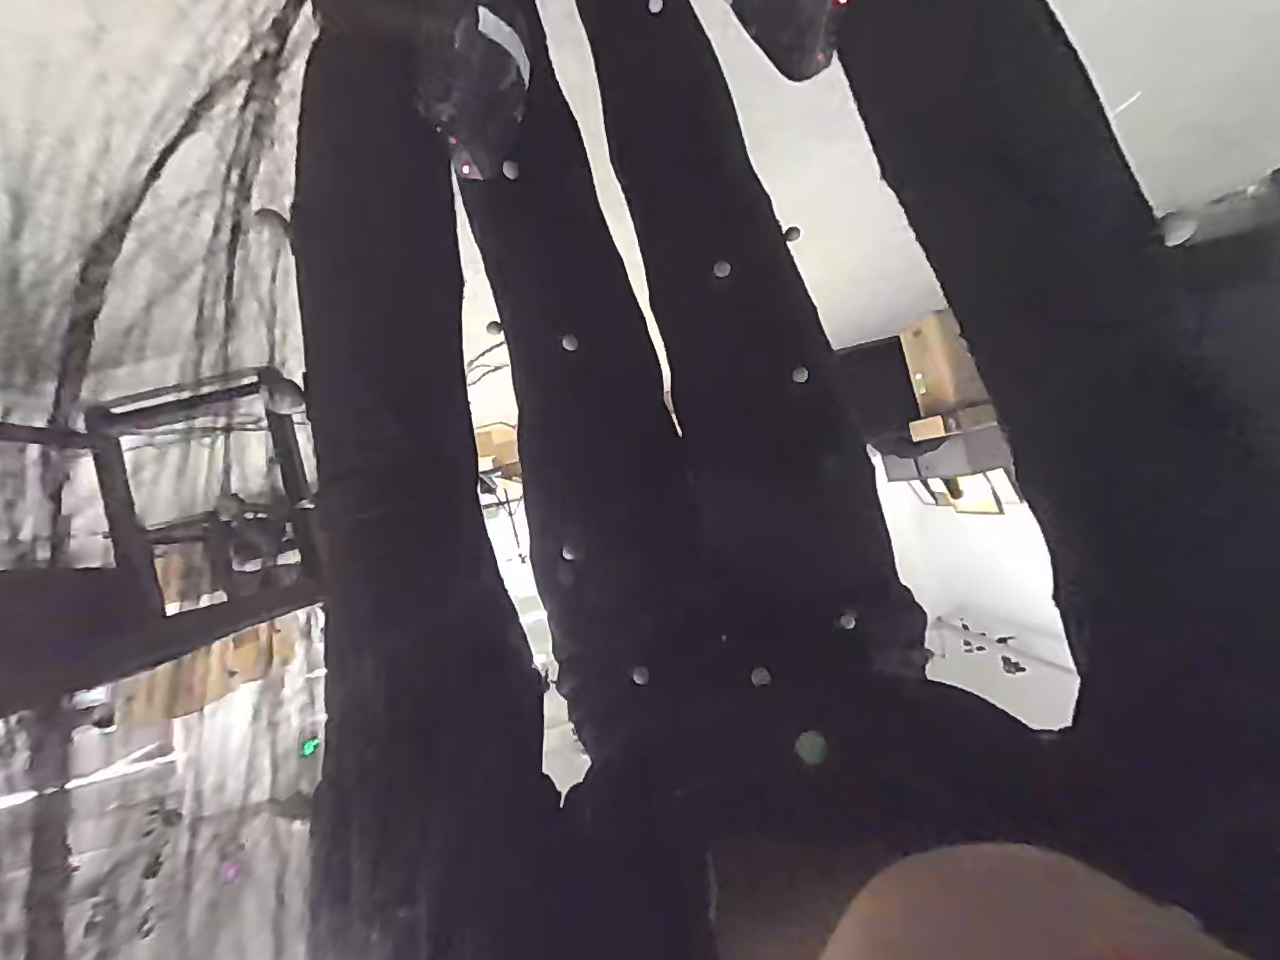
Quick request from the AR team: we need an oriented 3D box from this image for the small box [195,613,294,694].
[{"bbox_3d":[-1.150,0.496,1.572,0.179,0.176,0.168,-12,178,-6],"label":"small box"}]
